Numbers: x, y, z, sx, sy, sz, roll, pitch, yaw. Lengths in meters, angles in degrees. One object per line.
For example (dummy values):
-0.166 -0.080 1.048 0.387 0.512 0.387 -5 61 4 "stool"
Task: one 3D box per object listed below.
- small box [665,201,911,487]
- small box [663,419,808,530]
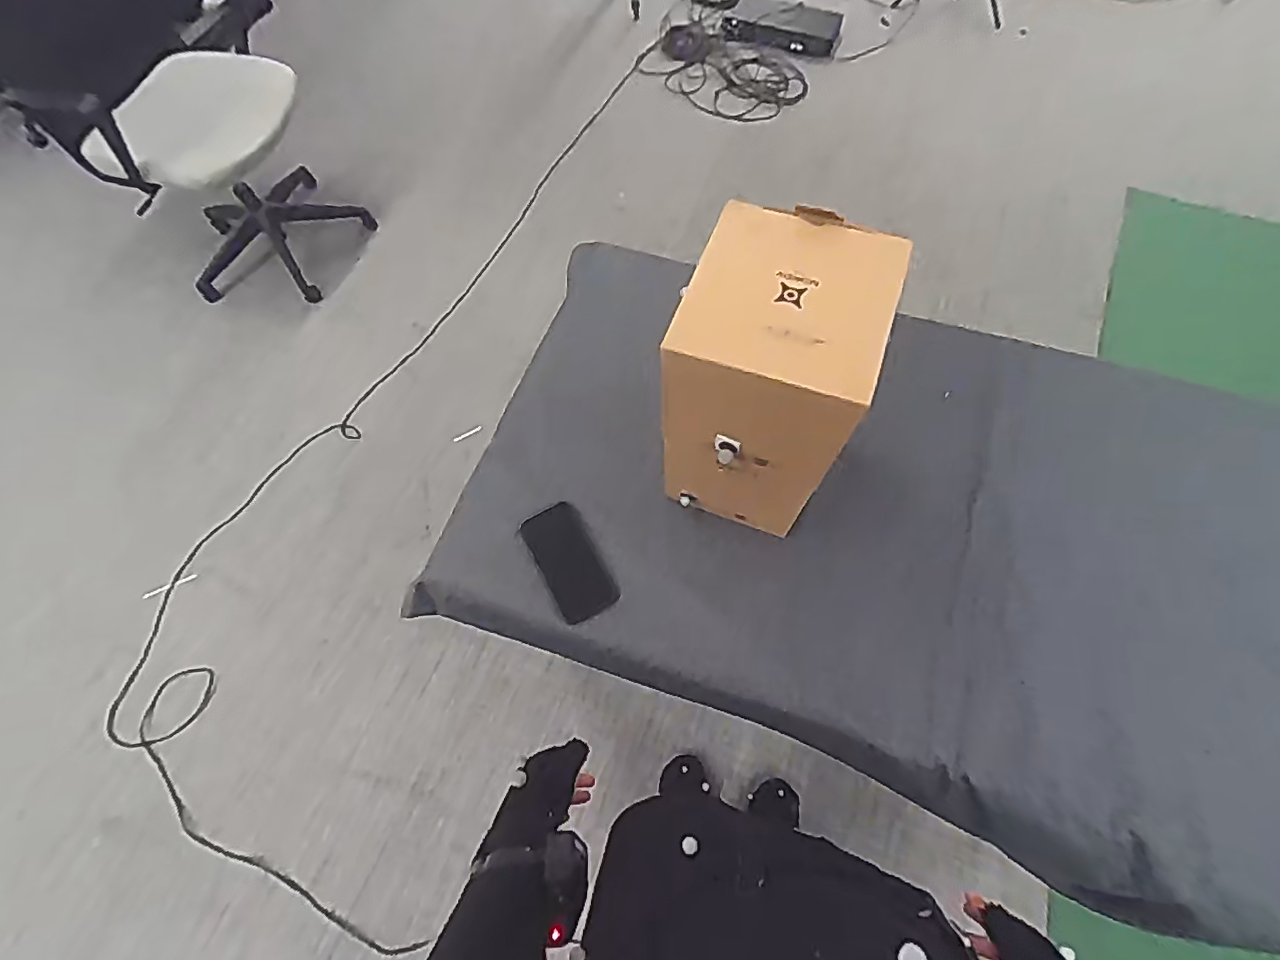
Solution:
0.128 -0.120 0.515 0.168 0.176 0.179 19 69 12 "small box"
0.137 -0.060 0.665 0.168 0.176 0.179 20 68 11 "small box"
